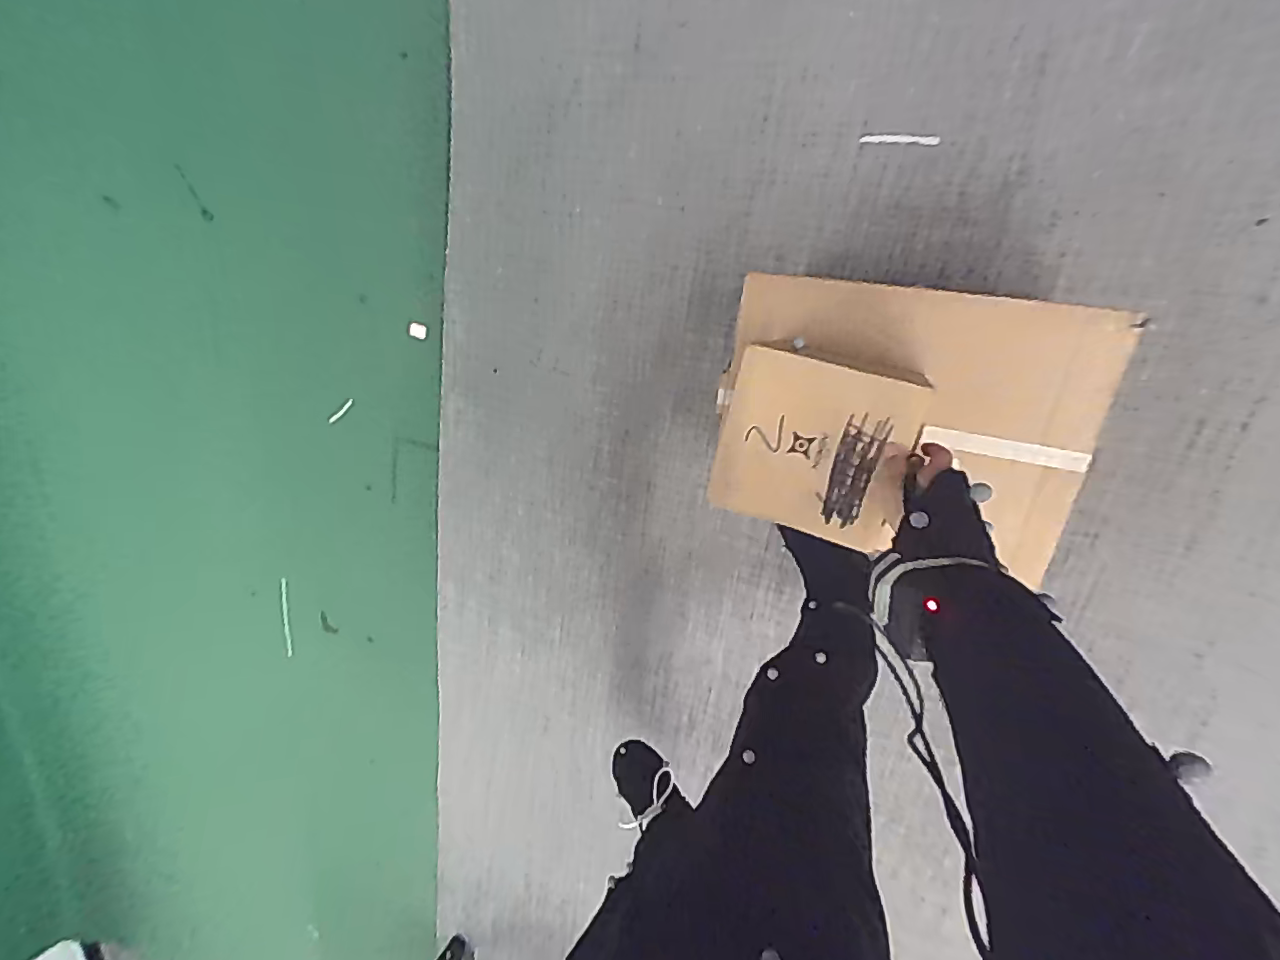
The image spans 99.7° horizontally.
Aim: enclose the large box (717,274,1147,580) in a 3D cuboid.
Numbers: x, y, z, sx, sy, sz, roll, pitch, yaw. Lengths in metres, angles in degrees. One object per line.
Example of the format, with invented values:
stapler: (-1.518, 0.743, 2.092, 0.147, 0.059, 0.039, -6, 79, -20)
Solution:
large box: (0.359, -0.104, 0.777, 0.408, 0.320, 0.320, 14, 110, 20)
